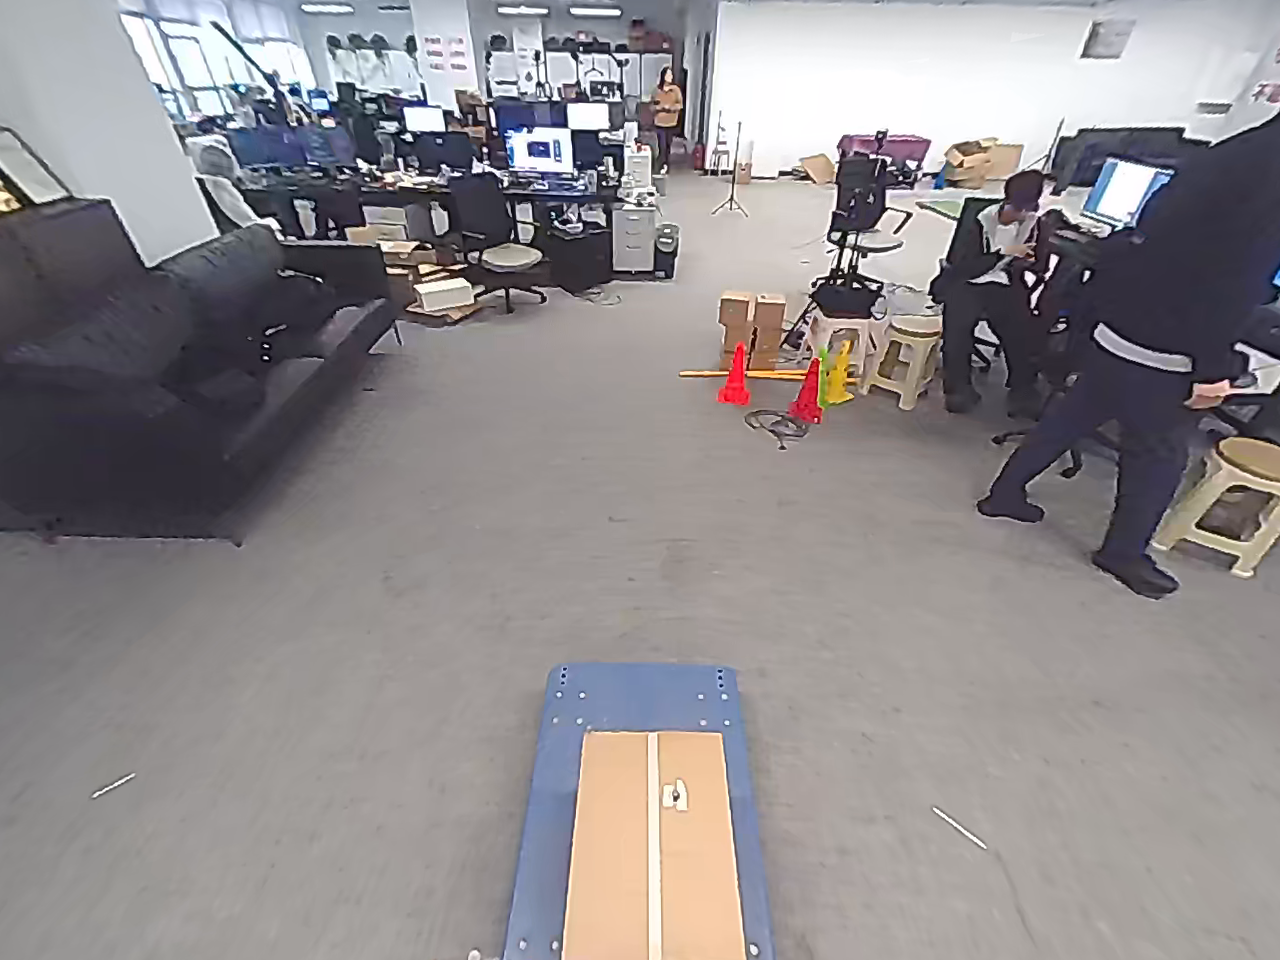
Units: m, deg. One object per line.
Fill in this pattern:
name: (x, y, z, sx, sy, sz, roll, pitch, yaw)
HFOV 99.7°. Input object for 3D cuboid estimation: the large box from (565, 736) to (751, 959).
large box: (0.031, 0.810, 1.127, 0.320, 0.320, 0.408, 1, 36, 0)
